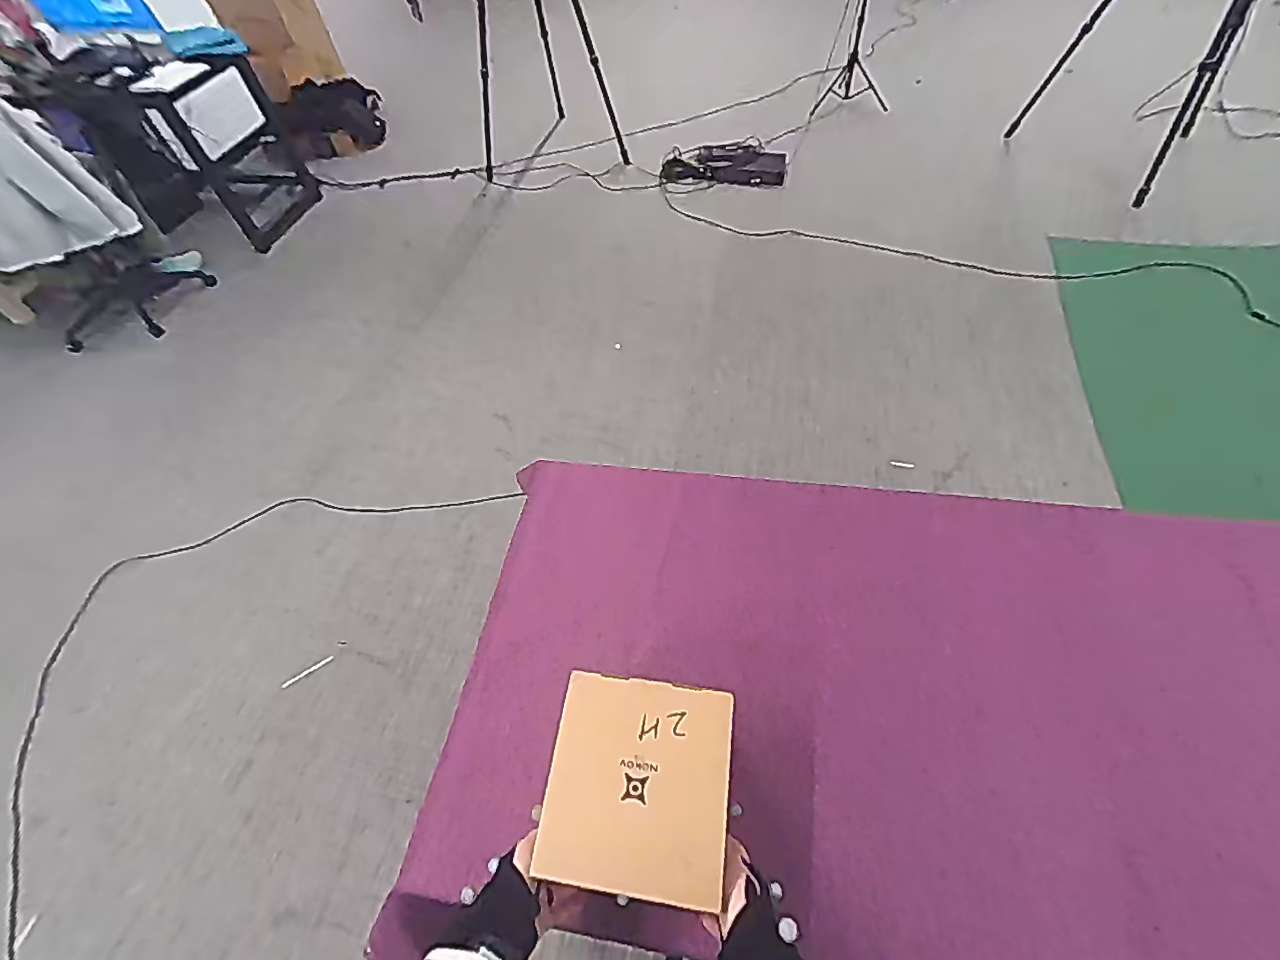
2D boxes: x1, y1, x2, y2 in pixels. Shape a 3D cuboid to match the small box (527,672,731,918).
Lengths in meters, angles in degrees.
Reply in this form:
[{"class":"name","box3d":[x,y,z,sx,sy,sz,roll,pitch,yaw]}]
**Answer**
[{"class":"small box","box3d":[0.002,0.320,0.561,0.168,0.176,0.179,5,57,8]}]
